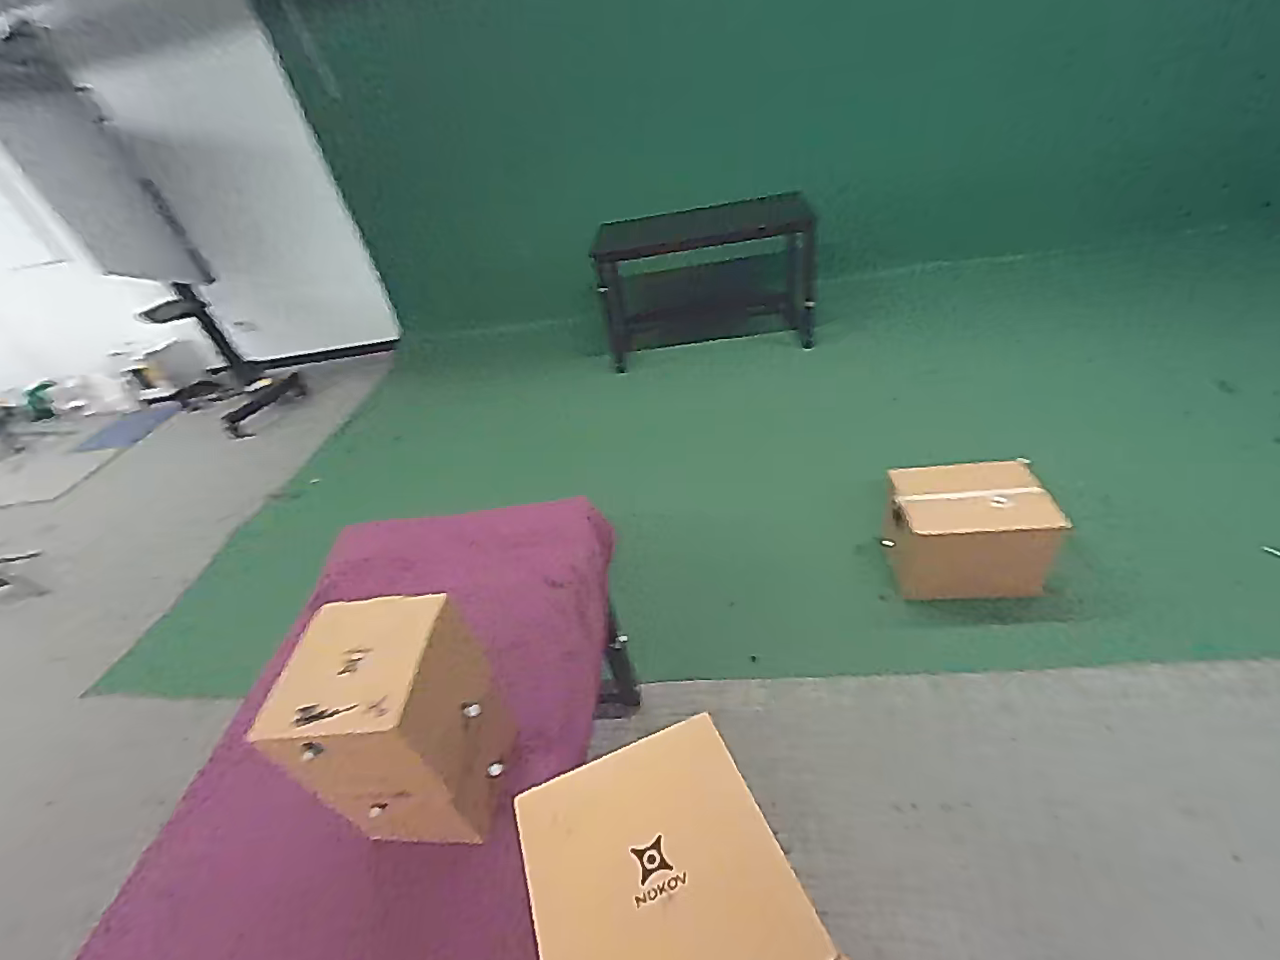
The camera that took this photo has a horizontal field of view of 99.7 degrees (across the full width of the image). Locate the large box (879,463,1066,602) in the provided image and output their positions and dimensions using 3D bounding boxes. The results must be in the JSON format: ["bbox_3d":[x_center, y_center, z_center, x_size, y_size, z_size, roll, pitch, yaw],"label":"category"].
[{"bbox_3d":[1.031,0.172,1.742,0.408,0.320,0.320,-4,38,10],"label":"large box"}]

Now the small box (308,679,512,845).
[{"bbox_3d":[-0.304,0.389,0.758,0.179,0.176,0.168,-5,38,10],"label":"small box"}]

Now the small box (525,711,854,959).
[{"bbox_3d":[0.028,0.315,0.393,0.168,0.176,0.179,-18,33,-12],"label":"small box"}]

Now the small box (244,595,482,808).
[{"bbox_3d":[-0.307,0.264,0.649,0.168,0.176,0.179,-7,37,7],"label":"small box"}]
